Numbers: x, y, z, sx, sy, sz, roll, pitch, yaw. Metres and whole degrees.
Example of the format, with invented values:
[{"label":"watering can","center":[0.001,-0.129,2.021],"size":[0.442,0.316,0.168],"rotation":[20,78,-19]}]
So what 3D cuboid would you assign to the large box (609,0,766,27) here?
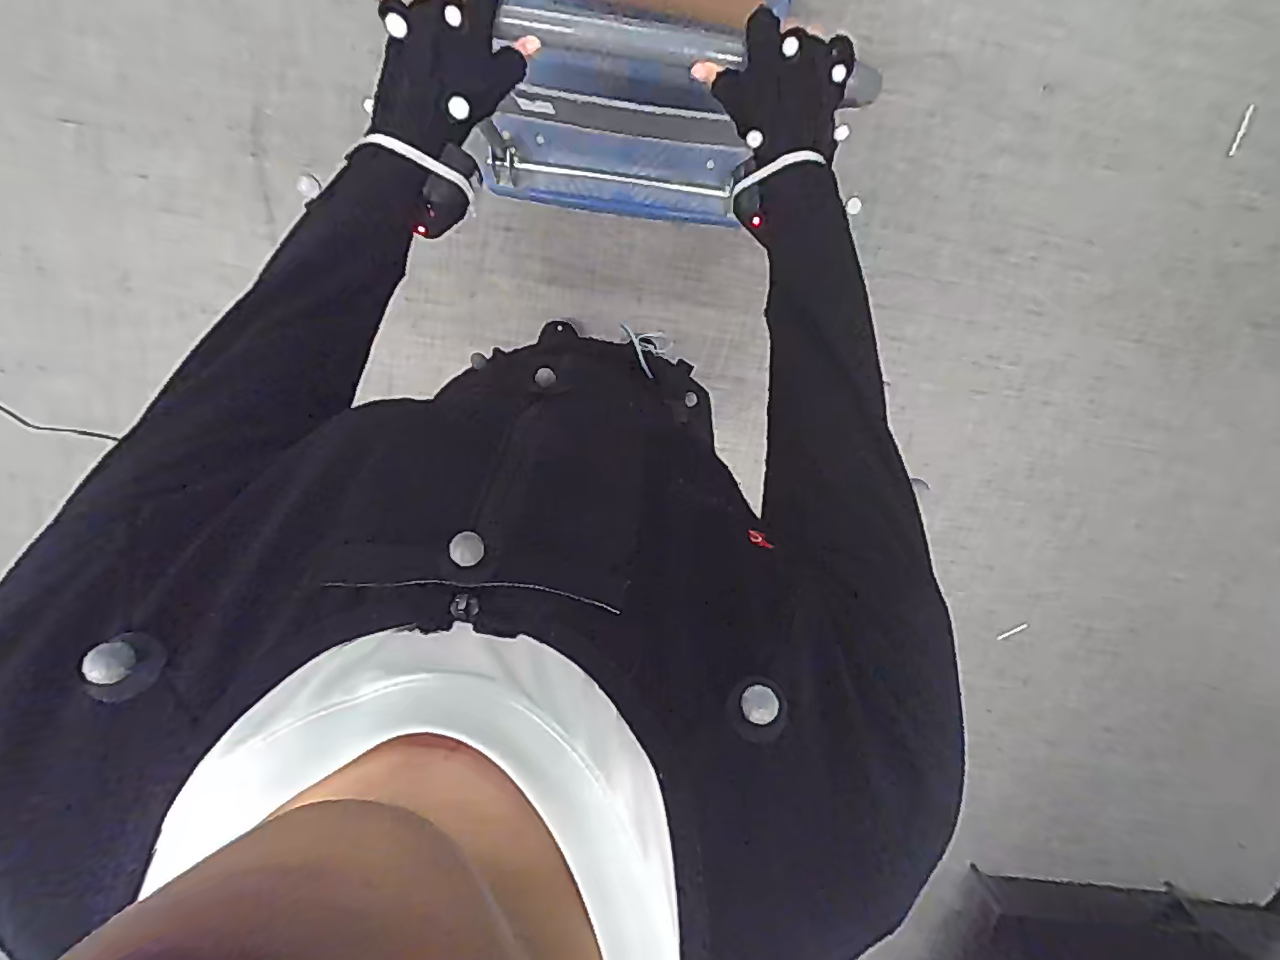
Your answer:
[{"label":"large box","center":[0.050,-0.996,0.850],"size":[0.408,0.320,0.320],"rotation":[9,107,-4]}]
